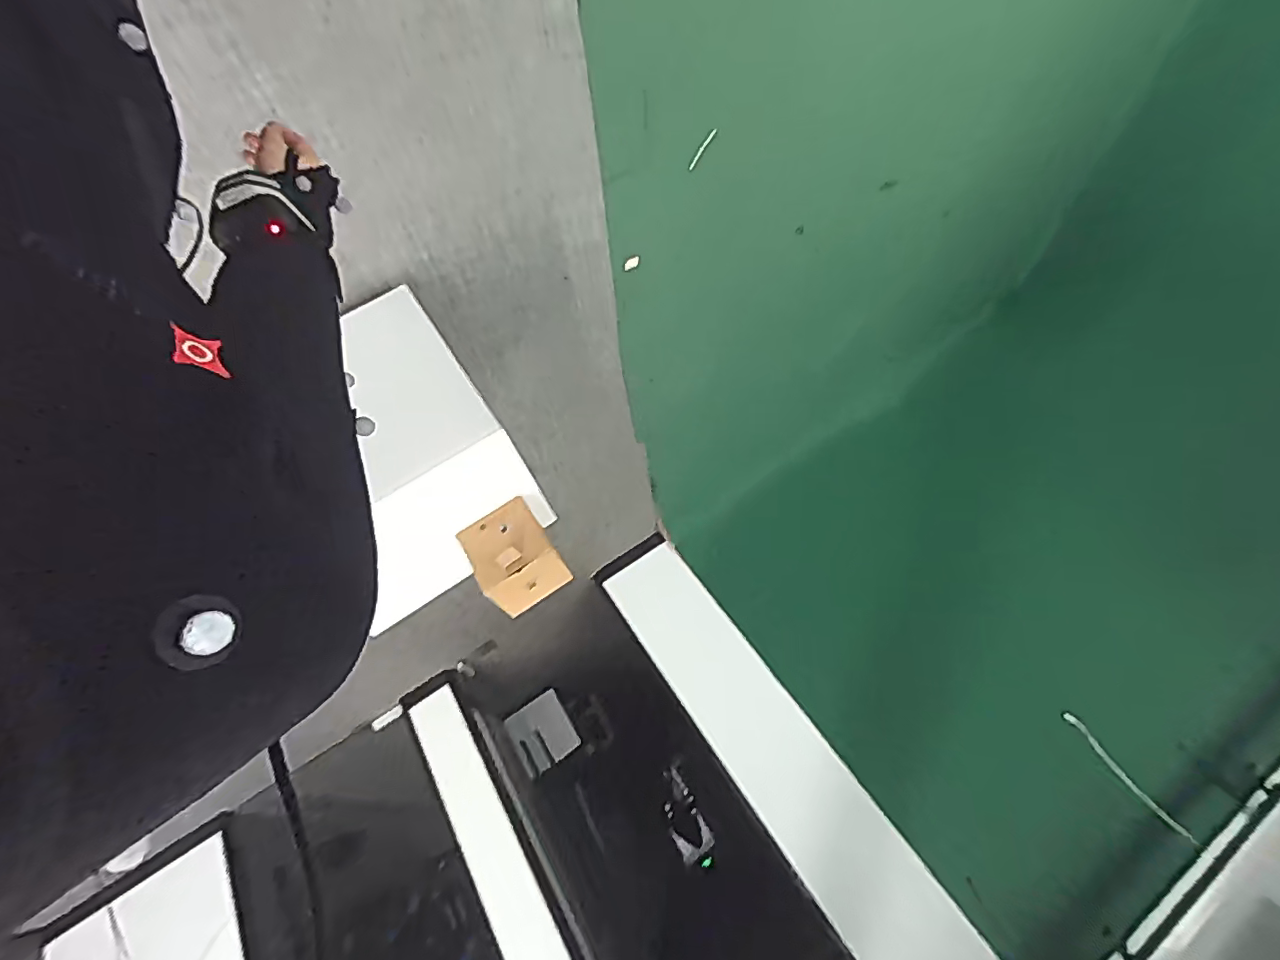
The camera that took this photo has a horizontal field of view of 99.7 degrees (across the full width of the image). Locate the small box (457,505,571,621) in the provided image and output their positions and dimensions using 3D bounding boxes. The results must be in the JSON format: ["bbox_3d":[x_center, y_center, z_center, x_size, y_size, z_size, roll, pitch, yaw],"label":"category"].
[{"bbox_3d":[-0.284,0.186,1.228,0.168,0.176,0.179,-33,149,-10],"label":"small box"}]
